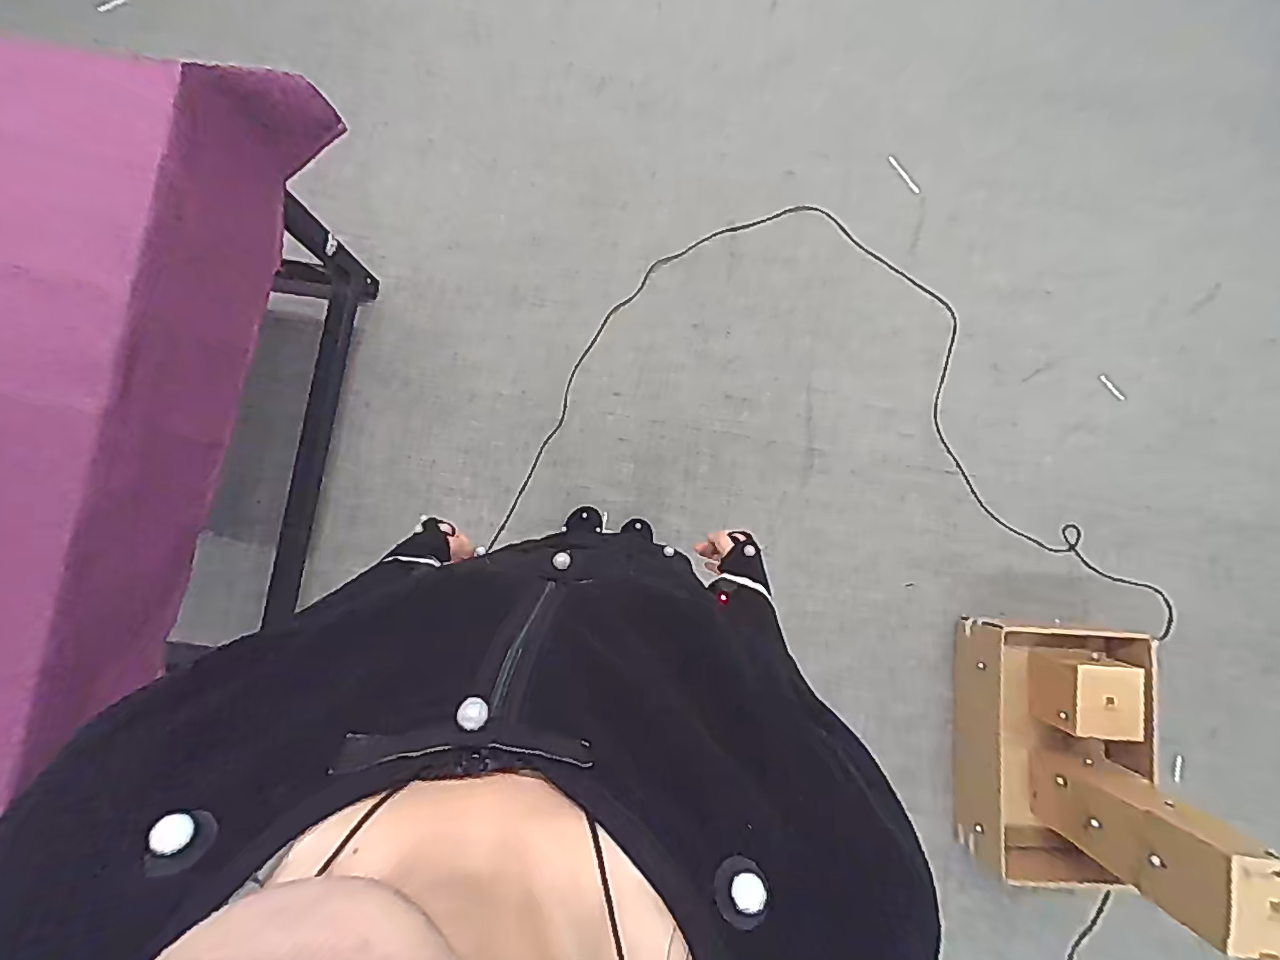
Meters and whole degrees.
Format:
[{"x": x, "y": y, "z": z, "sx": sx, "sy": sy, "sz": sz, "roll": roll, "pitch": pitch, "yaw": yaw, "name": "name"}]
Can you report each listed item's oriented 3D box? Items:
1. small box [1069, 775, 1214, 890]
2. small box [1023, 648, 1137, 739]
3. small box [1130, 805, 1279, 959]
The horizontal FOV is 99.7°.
[{"x": 1.124, "y": 0.792, "z": 1.221, "sx": 0.179, "sy": 0.176, "sz": 0.168, "roll": 6, "pitch": 85, "yaw": -1, "name": "small box"}, {"x": 1.131, "y": 0.546, "z": 1.402, "sx": 0.168, "sy": 0.176, "sz": 0.179, "roll": 4, "pitch": 87, "yaw": 0, "name": "small box"}, {"x": 1.114, "y": 0.777, "z": 1.055, "sx": 0.168, "sy": 0.176, "sz": 0.179, "roll": 10, "pitch": 86, "yaw": -1, "name": "small box"}]
